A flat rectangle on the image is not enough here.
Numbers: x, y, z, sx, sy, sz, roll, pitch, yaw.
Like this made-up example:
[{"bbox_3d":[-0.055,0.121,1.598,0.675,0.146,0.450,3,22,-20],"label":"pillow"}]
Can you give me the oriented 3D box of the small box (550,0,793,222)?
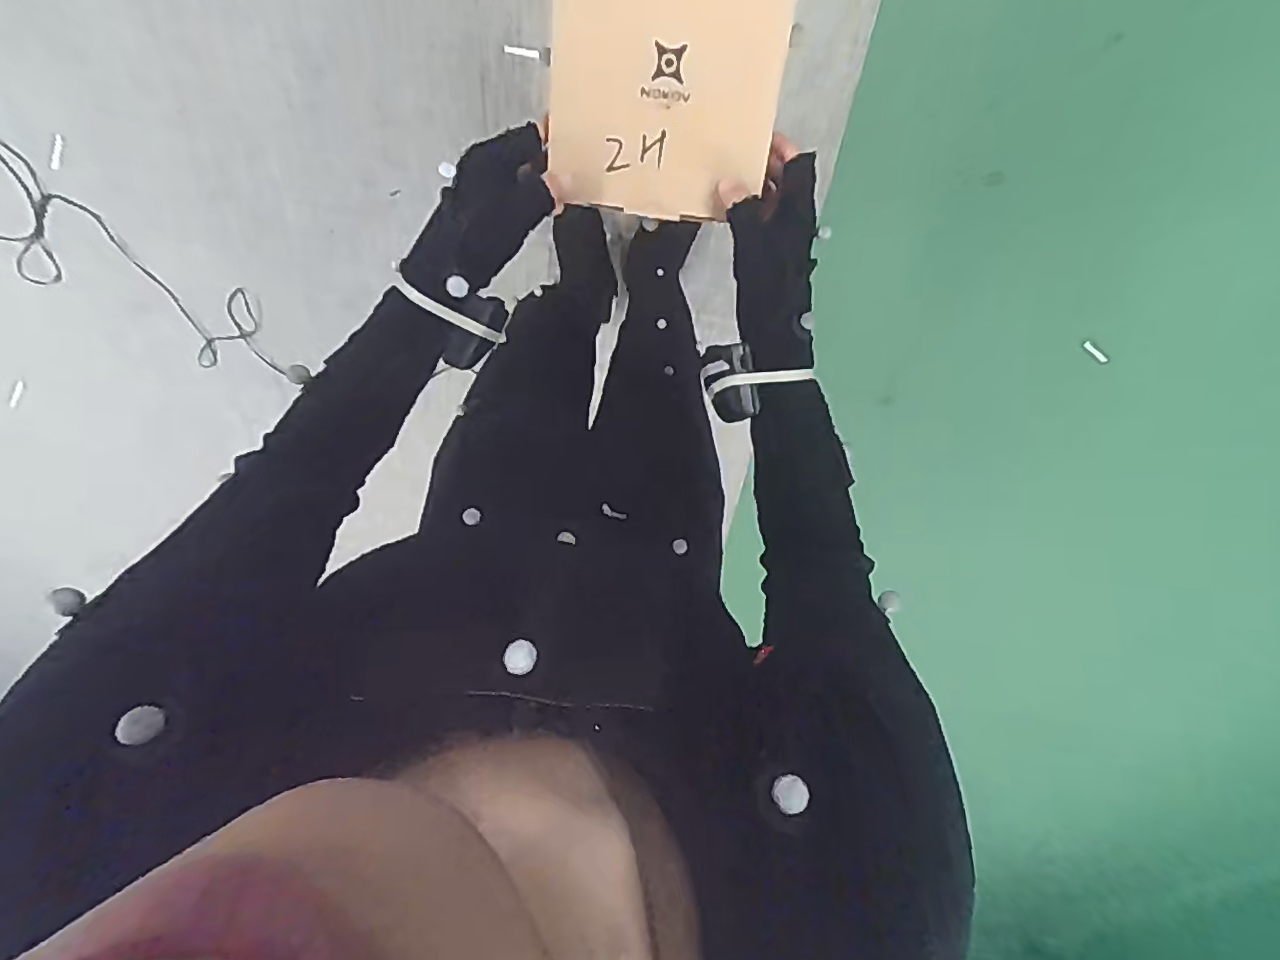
[{"bbox_3d":[0.021,-0.332,0.468,0.168,0.176,0.179,7,117,-1],"label":"small box"}]
